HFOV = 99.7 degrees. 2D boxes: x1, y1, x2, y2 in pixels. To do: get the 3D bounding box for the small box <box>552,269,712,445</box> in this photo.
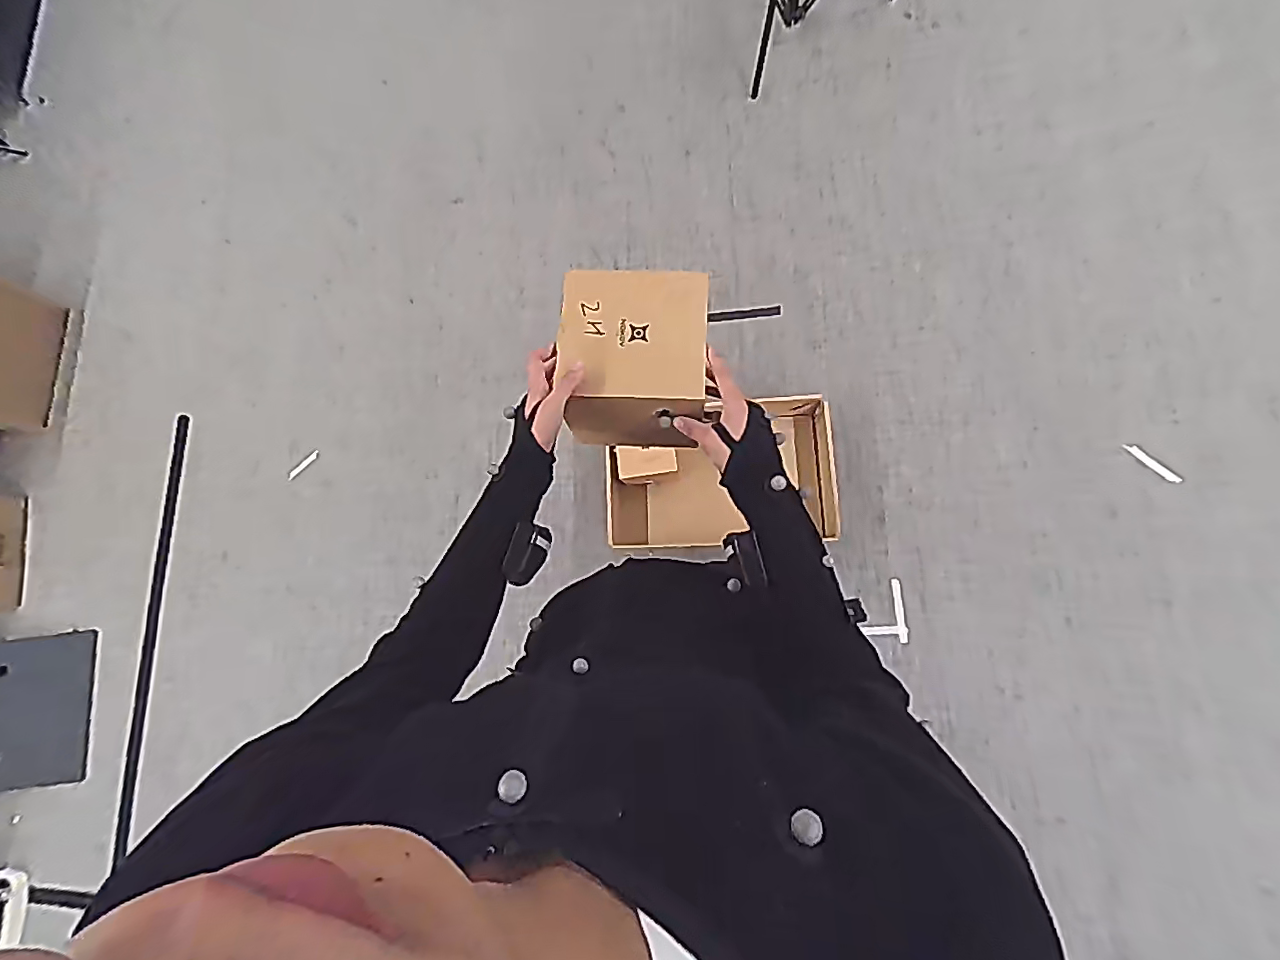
[{"bbox_3d":[-0.003,-0.148,0.696,0.179,0.176,0.168,2,75,5],"label":"small box"}]
